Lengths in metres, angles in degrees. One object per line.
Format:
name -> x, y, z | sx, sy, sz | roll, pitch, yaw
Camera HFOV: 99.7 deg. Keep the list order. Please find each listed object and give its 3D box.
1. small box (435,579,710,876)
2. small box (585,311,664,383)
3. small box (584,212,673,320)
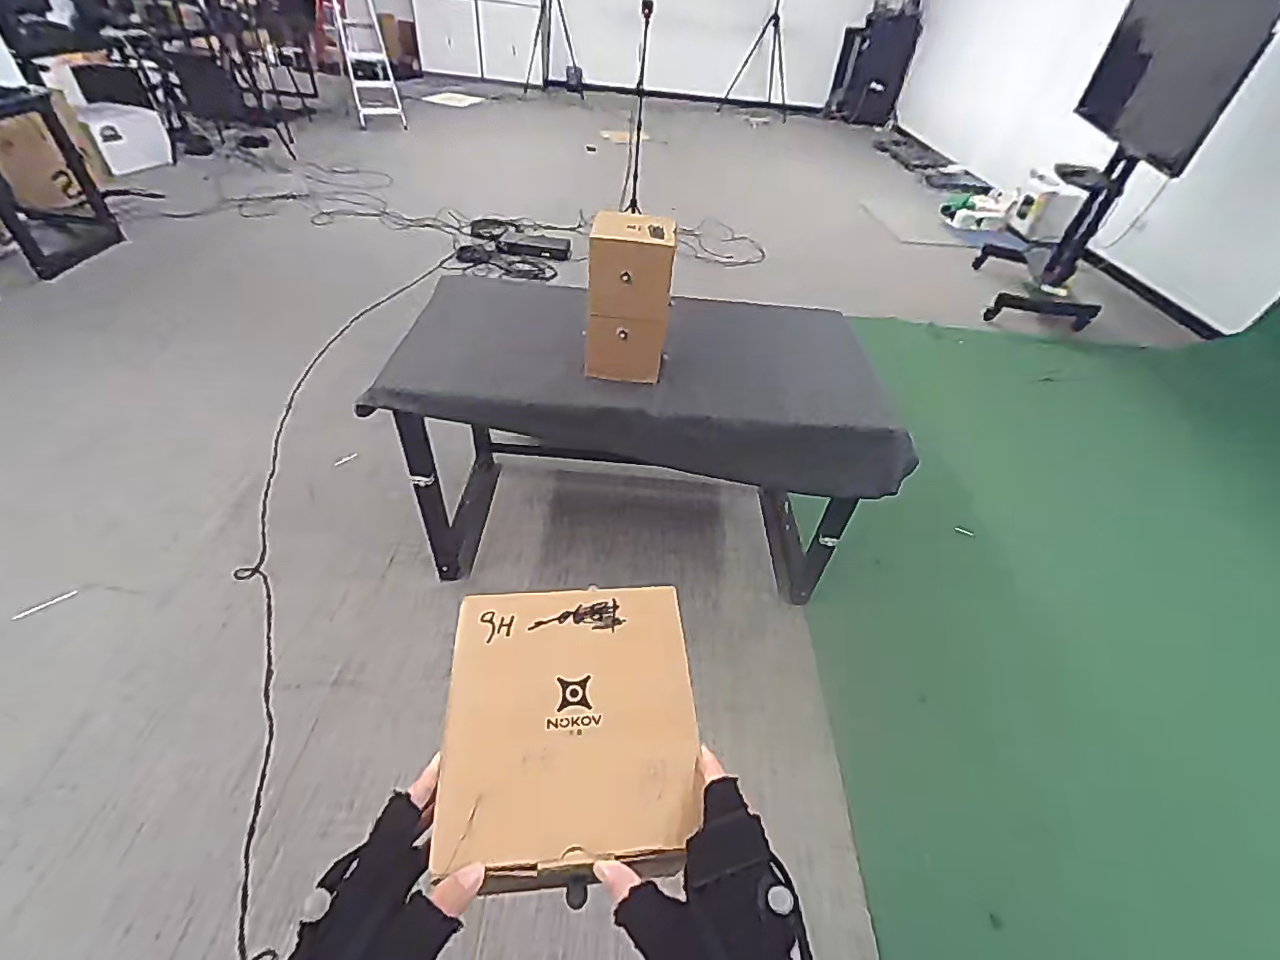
small box -> -0.048, 0.199, 0.429 | 0.168, 0.176, 0.179 | -3, 52, -6
small box -> -0.035, -0.349, 1.300 | 0.179, 0.176, 0.168 | 5, 44, -1
small box -> -0.024, -0.465, 1.184 | 0.179, 0.176, 0.168 | 4, 43, 1
